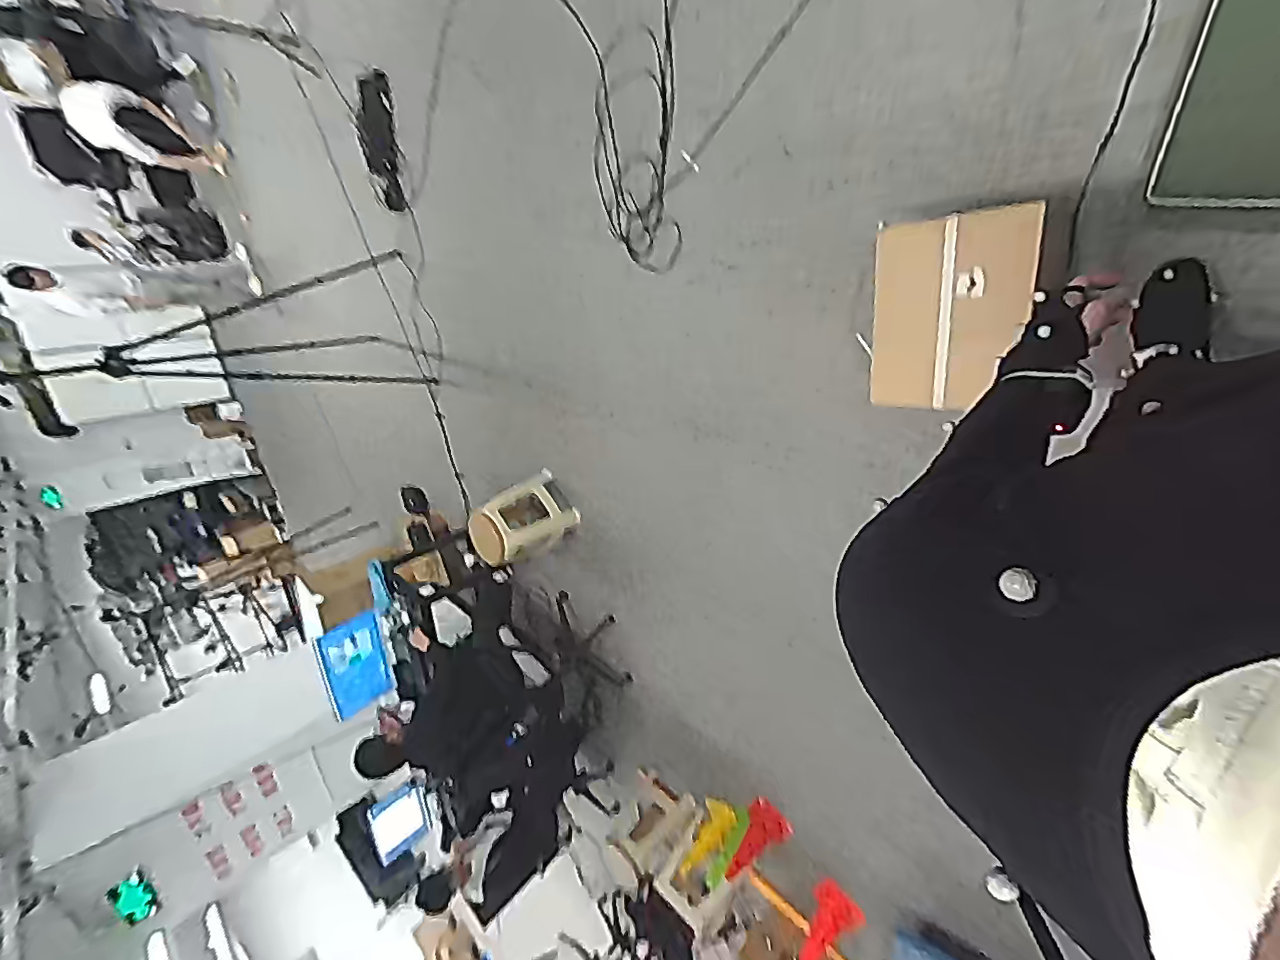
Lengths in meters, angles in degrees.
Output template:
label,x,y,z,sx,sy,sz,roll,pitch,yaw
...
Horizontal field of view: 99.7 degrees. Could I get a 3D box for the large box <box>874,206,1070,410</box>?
label,x,y,z,sx,sy,sz,roll,pitch,yaw
large box,0.779,-0.394,1.283,0.320,0.320,0.408,12,115,43
